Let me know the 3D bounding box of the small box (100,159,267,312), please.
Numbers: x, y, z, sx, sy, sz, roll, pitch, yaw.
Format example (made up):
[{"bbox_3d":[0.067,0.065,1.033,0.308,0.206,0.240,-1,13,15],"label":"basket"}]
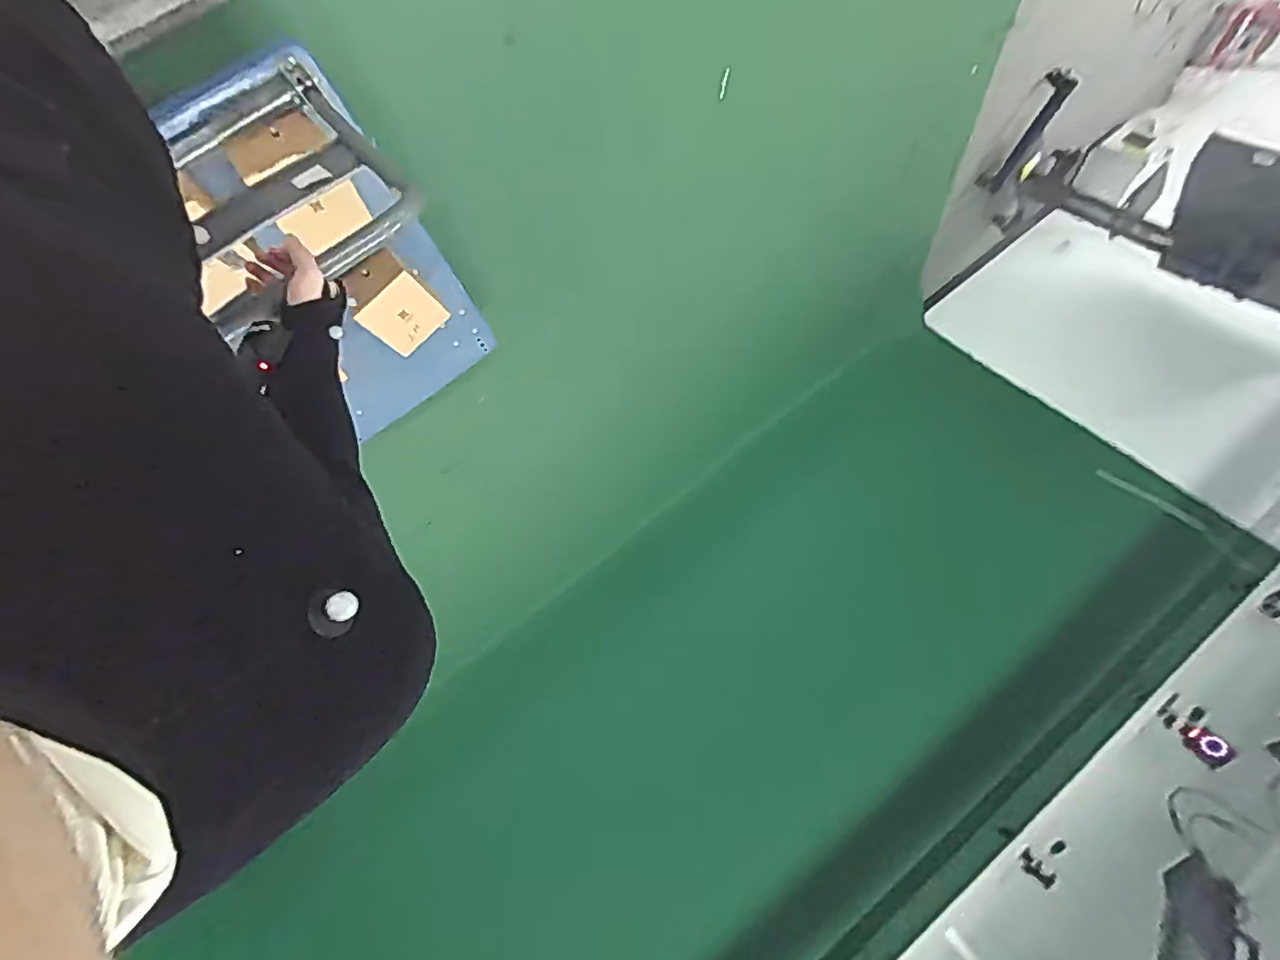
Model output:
[{"bbox_3d":[-0.866,-0.465,1.025,0.179,0.176,0.168,-38,152,-4],"label":"small box"}]

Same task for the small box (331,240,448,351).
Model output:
[{"bbox_3d":[-0.625,-0.464,1.344,0.168,0.176,0.179,-41,153,1],"label":"small box"}]

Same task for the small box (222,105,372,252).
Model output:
[{"bbox_3d":[-0.678,-0.600,1.077,0.168,0.176,0.179,-34,152,-13],"label":"small box"}]
